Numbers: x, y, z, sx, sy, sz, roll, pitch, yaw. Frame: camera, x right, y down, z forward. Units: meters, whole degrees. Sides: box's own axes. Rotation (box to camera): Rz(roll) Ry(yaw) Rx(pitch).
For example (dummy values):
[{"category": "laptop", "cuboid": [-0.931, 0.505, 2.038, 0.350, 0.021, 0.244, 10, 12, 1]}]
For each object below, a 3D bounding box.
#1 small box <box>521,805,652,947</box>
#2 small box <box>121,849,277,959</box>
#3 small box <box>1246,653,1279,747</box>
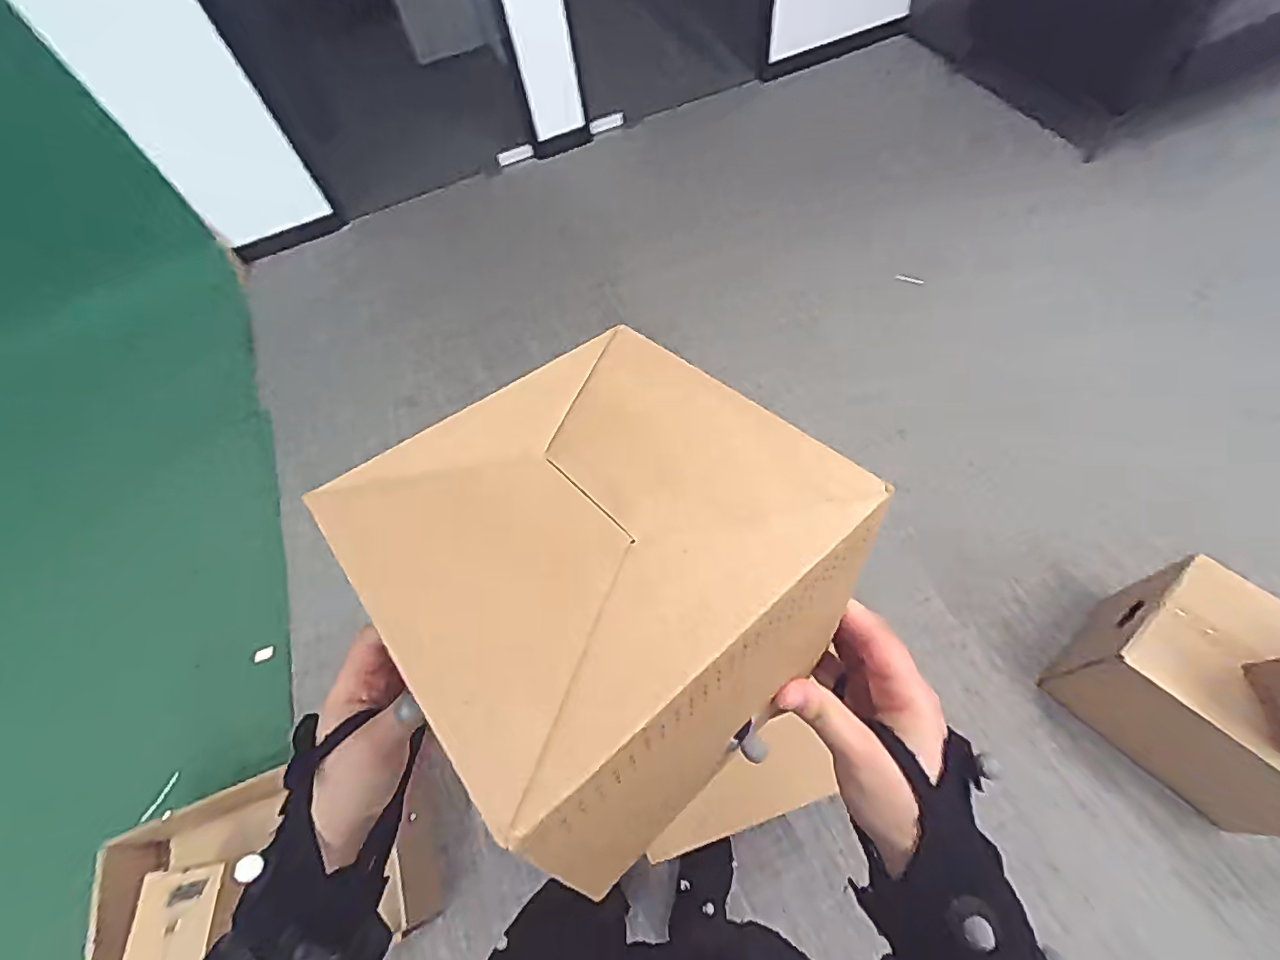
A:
[{"category": "small box", "cuboid": [-0.101, 0.782, 1.099, 0.176, 0.168, 0.179, 52, 47, -2]}, {"category": "small box", "cuboid": [-0.889, 0.873, 1.111, 0.168, 0.176, 0.179, -8, 60, 1]}, {"category": "small box", "cuboid": [1.166, 0.363, 0.877, 0.179, 0.176, 0.168, -5, 61, 6]}]
